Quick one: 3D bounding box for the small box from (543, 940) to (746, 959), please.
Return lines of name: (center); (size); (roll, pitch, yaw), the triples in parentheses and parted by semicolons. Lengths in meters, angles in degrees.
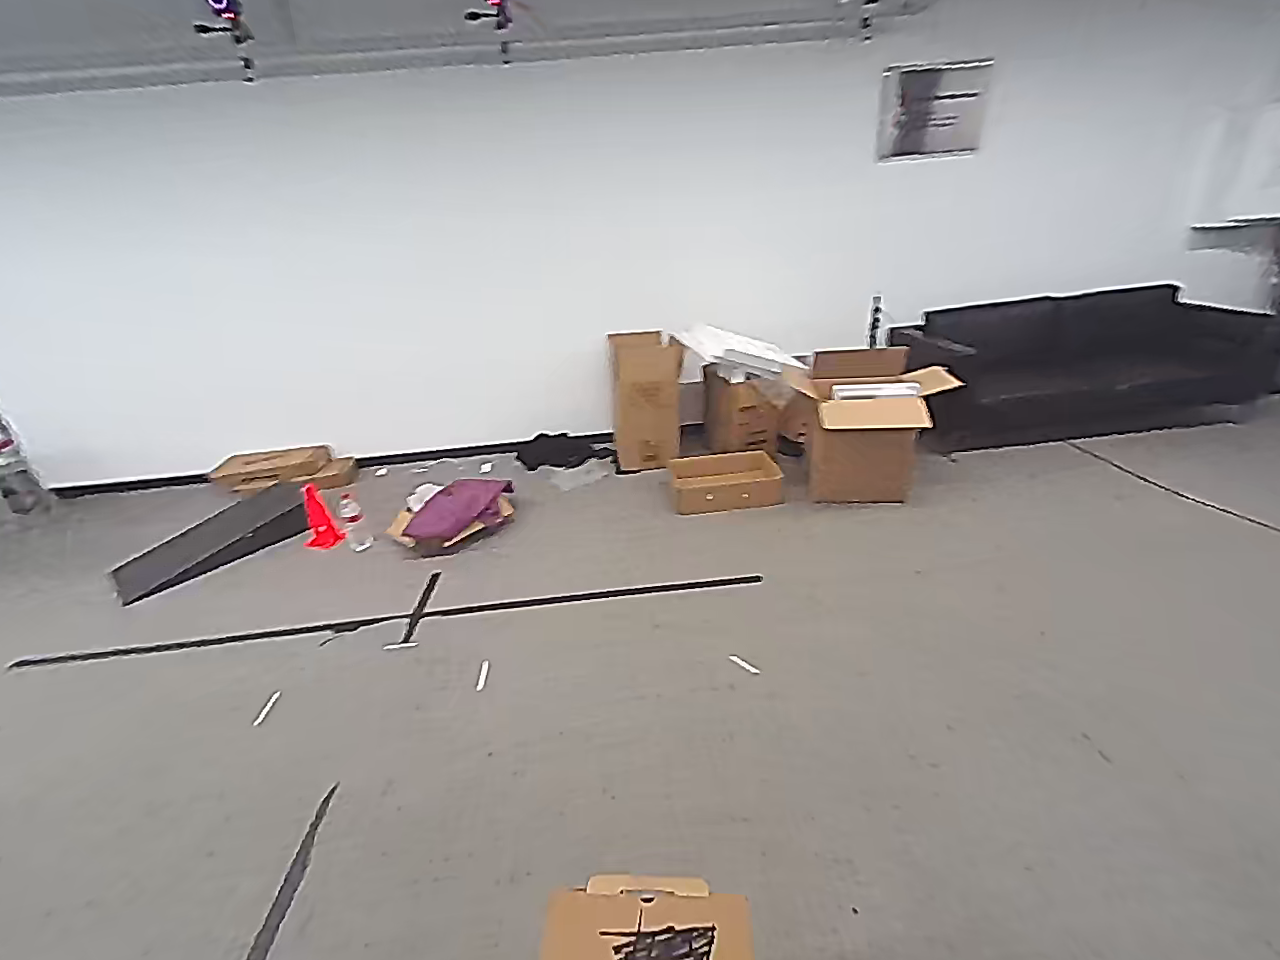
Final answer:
small box: (0.005, 0.490, 0.414); (0.168, 0.176, 0.179); (-3, 37, 4)
